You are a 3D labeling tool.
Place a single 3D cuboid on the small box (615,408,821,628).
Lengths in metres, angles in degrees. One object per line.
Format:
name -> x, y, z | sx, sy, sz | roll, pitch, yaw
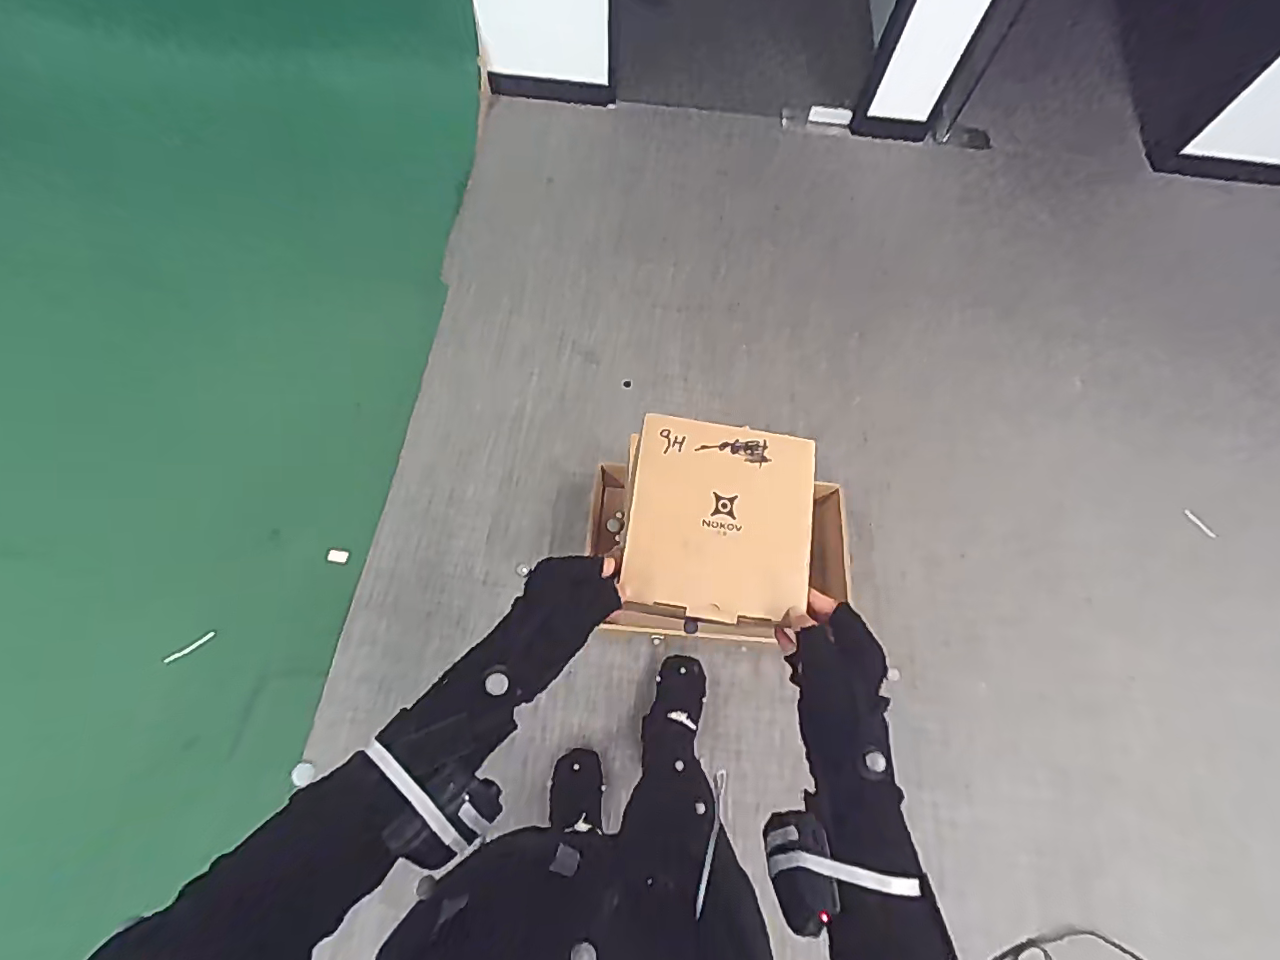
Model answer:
small box -> 0.068, 0.049, 0.556 | 0.168, 0.176, 0.179 | 10, 75, -3
